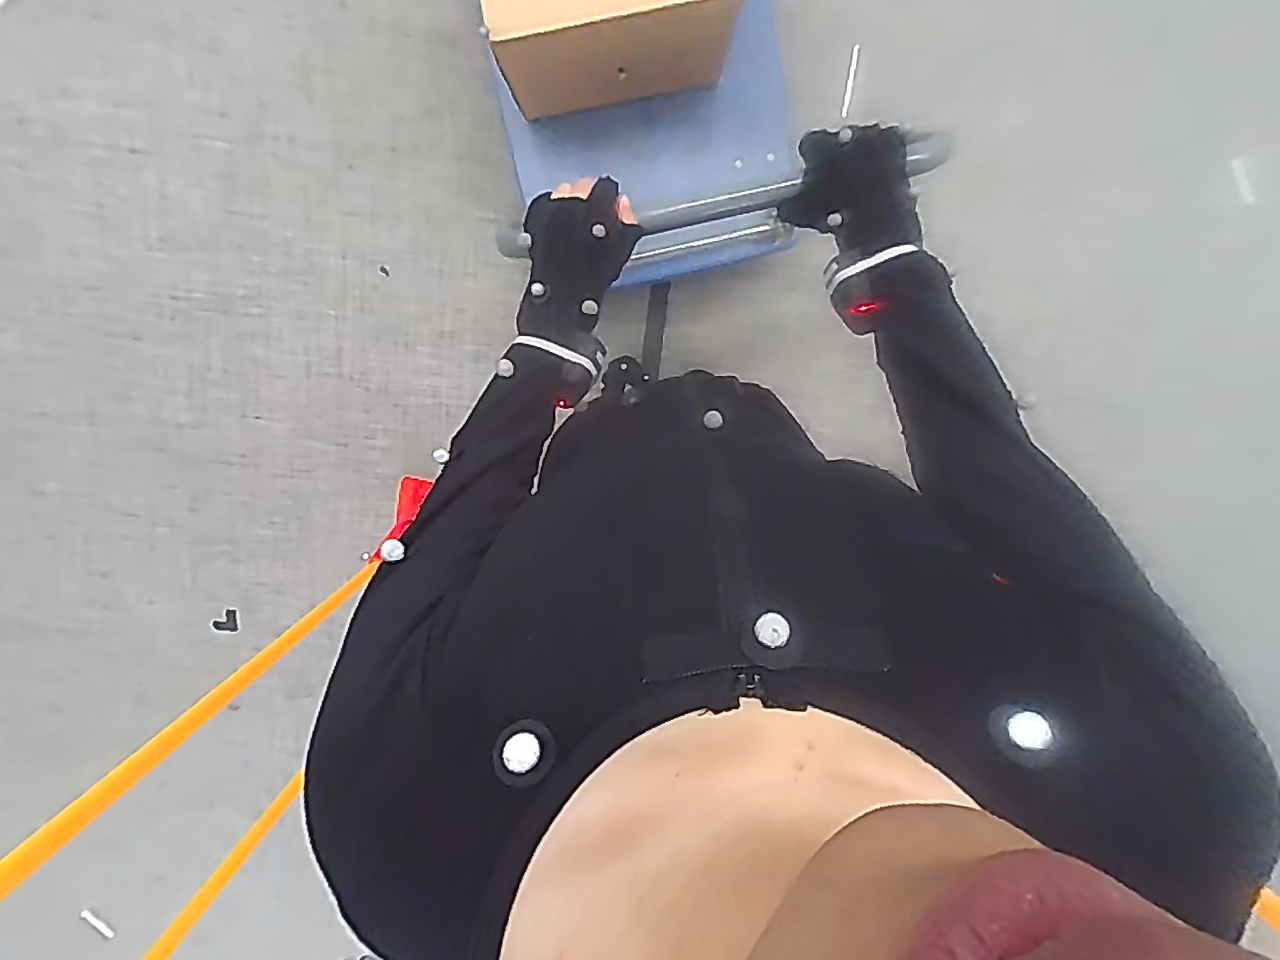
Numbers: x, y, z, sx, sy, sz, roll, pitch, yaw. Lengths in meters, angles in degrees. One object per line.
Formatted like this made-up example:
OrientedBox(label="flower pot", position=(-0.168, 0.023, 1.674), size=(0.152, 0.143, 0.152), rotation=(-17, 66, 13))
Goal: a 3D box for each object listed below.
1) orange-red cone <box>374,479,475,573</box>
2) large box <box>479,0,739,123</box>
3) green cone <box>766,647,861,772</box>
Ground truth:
OrientedBox(label="orange-red cone", position=(-0.562, 0.143, 1.331), size=(0.198, 0.360, 0.199), rotation=(13, 101, -5))
OrientedBox(label="large box", position=(-0.066, -0.886, 0.942), size=(0.408, 0.320, 0.320), rotation=(-10, 104, 3))
OrientedBox(label="green cone", position=(0.498, 0.642, 1.464), size=(0.202, 0.368, 0.200), rotation=(9, 103, -4))
